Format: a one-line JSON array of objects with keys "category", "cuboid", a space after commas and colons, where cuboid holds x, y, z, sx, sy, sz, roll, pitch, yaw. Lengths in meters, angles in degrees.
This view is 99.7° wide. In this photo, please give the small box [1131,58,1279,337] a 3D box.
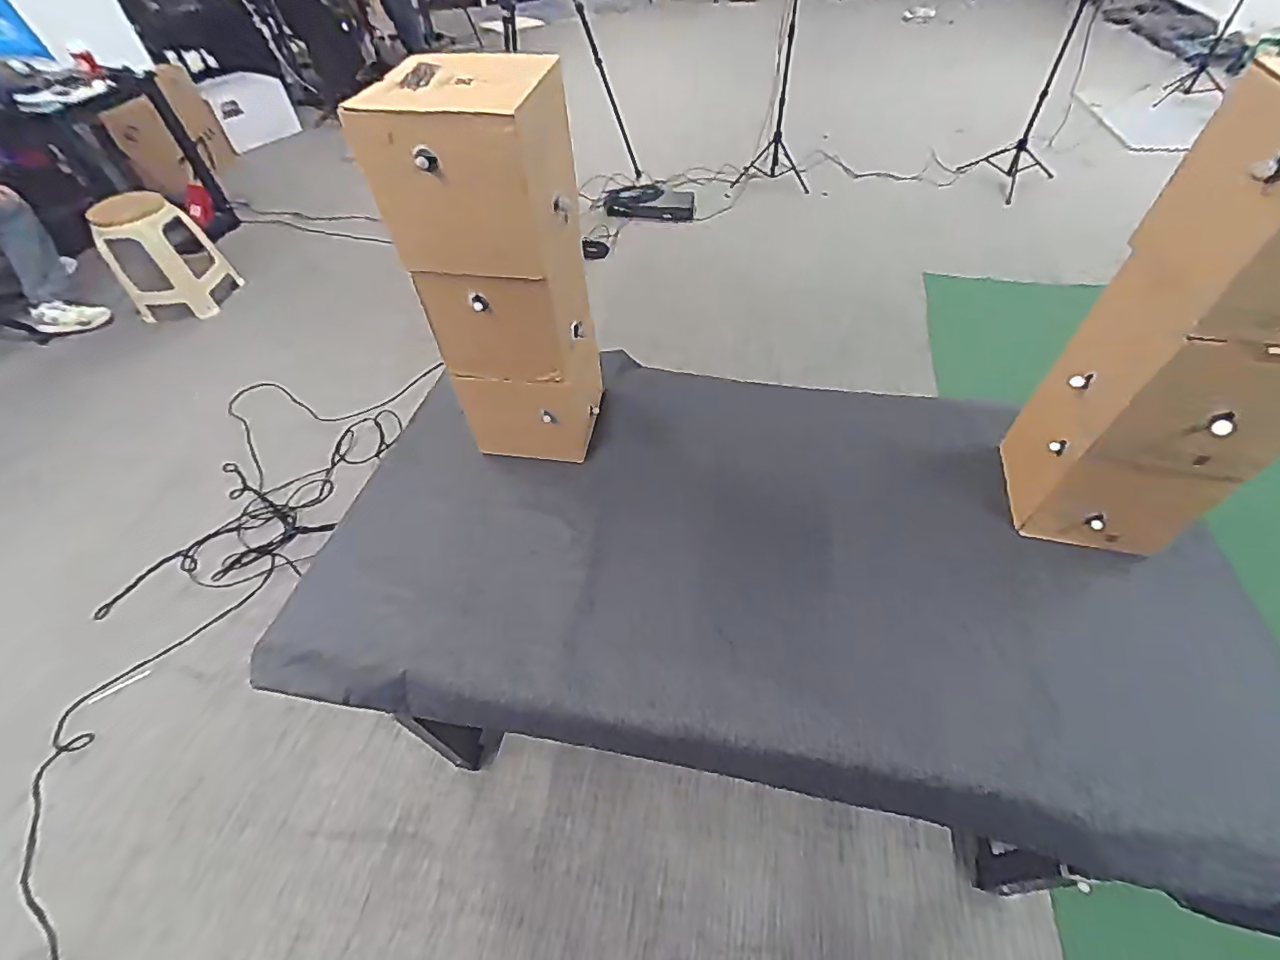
[{"category": "small box", "cuboid": [0.588, -0.236, 0.465, 0.168, 0.176, 0.179, 9, 53, 10]}]

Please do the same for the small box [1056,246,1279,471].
[{"category": "small box", "cuboid": [0.603, -0.132, 0.593, 0.168, 0.176, 0.179, 10, 54, 11]}]

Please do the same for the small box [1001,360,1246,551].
[{"category": "small box", "cuboid": [0.615, -0.033, 0.723, 0.168, 0.176, 0.179, 10, 53, 11]}]

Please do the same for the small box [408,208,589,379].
[{"category": "small box", "cuboid": [-0.176, -0.256, 0.739, 0.179, 0.176, 0.168, 6, 53, 6]}]

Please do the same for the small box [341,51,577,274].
[{"category": "small box", "cuboid": [-0.180, -0.350, 0.604, 0.179, 0.176, 0.168, 7, 53, 7]}]
